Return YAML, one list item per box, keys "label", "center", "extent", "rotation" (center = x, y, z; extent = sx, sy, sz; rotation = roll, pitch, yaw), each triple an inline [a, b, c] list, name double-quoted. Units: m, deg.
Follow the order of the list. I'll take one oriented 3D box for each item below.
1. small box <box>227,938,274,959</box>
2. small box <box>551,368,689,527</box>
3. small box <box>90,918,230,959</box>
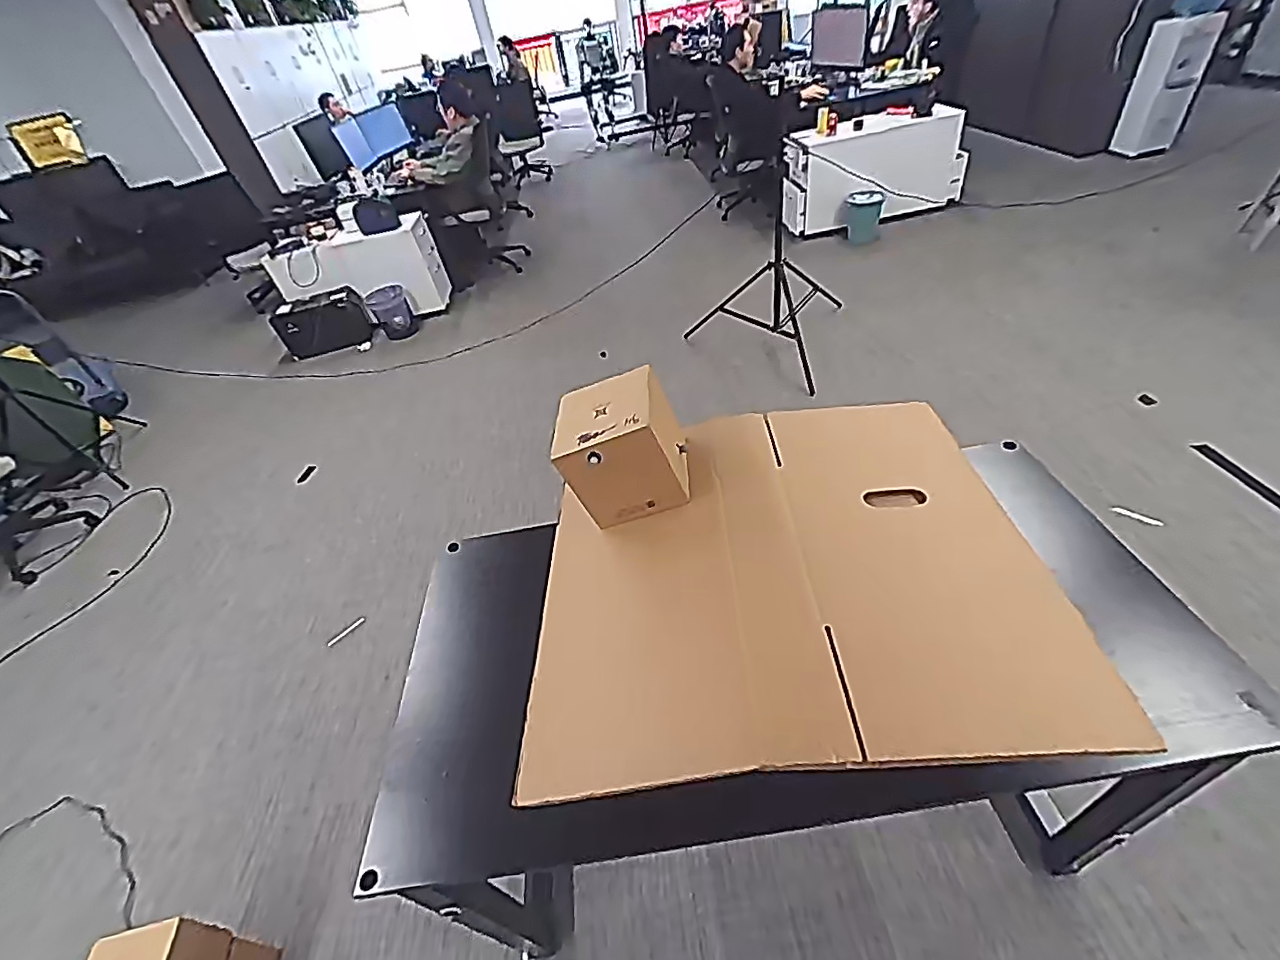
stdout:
- label: "small box"
  center: [-0.922, 1.118, 1.152]
  extent: [0.168, 0.176, 0.179]
  rotation: [-13, 42, -1]
- label: "small box"
  center: [-0.025, -0.052, 0.900]
  extent: [0.168, 0.176, 0.179]
  rotation: [-19, 38, 16]
- label: "small box"
  center: [-0.950, 0.996, 1.049]
  extent: [0.168, 0.176, 0.179]
  rotation: [-15, 40, -4]
